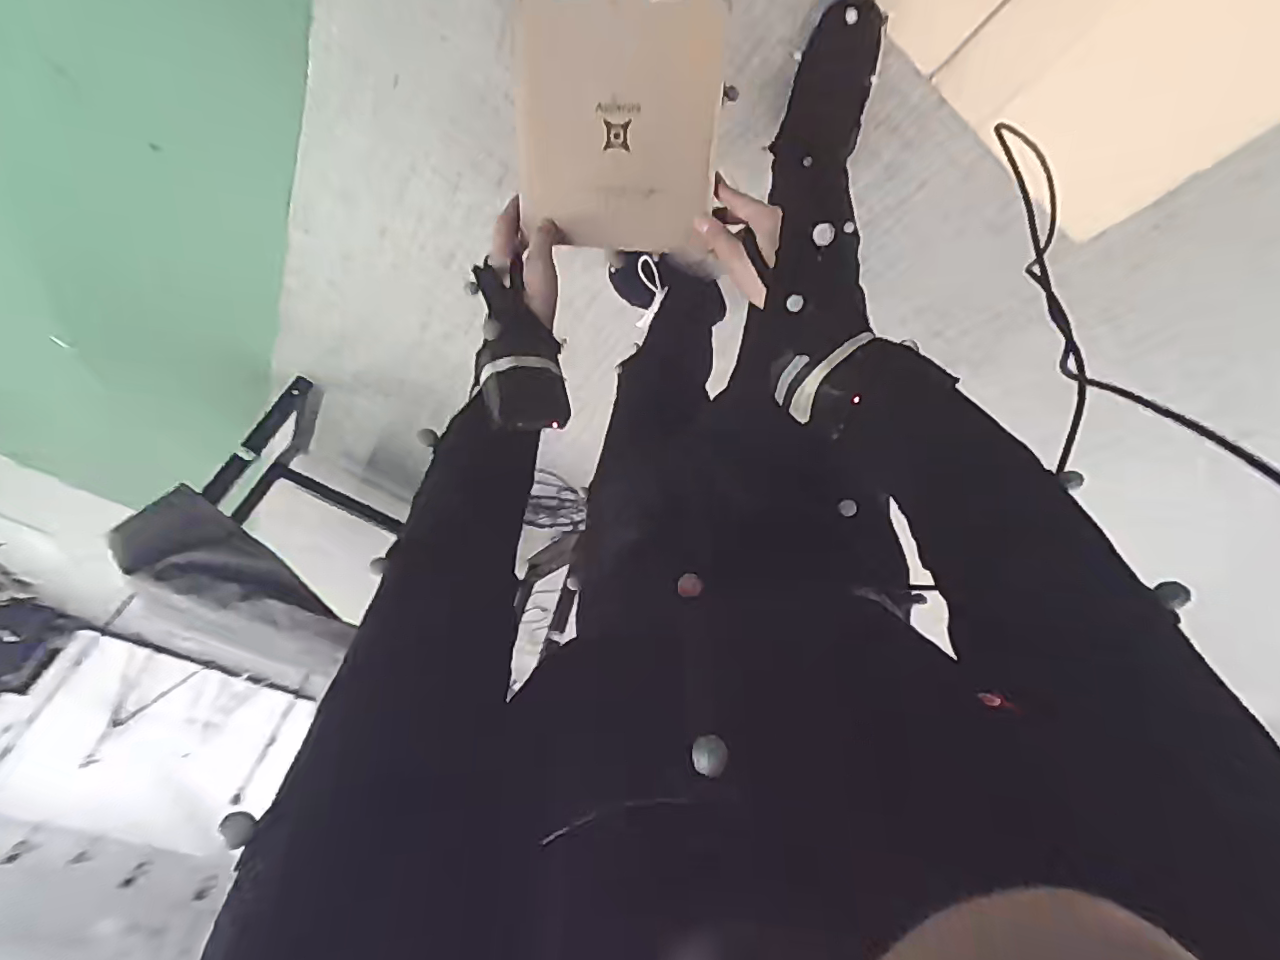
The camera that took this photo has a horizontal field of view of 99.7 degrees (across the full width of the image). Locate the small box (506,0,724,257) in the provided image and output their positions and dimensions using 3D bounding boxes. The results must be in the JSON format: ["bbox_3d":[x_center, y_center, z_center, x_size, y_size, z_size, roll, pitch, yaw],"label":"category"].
[{"bbox_3d":[-0.014,-0.305,0.504,0.168,0.176,0.179,3,114,6],"label":"small box"}]
